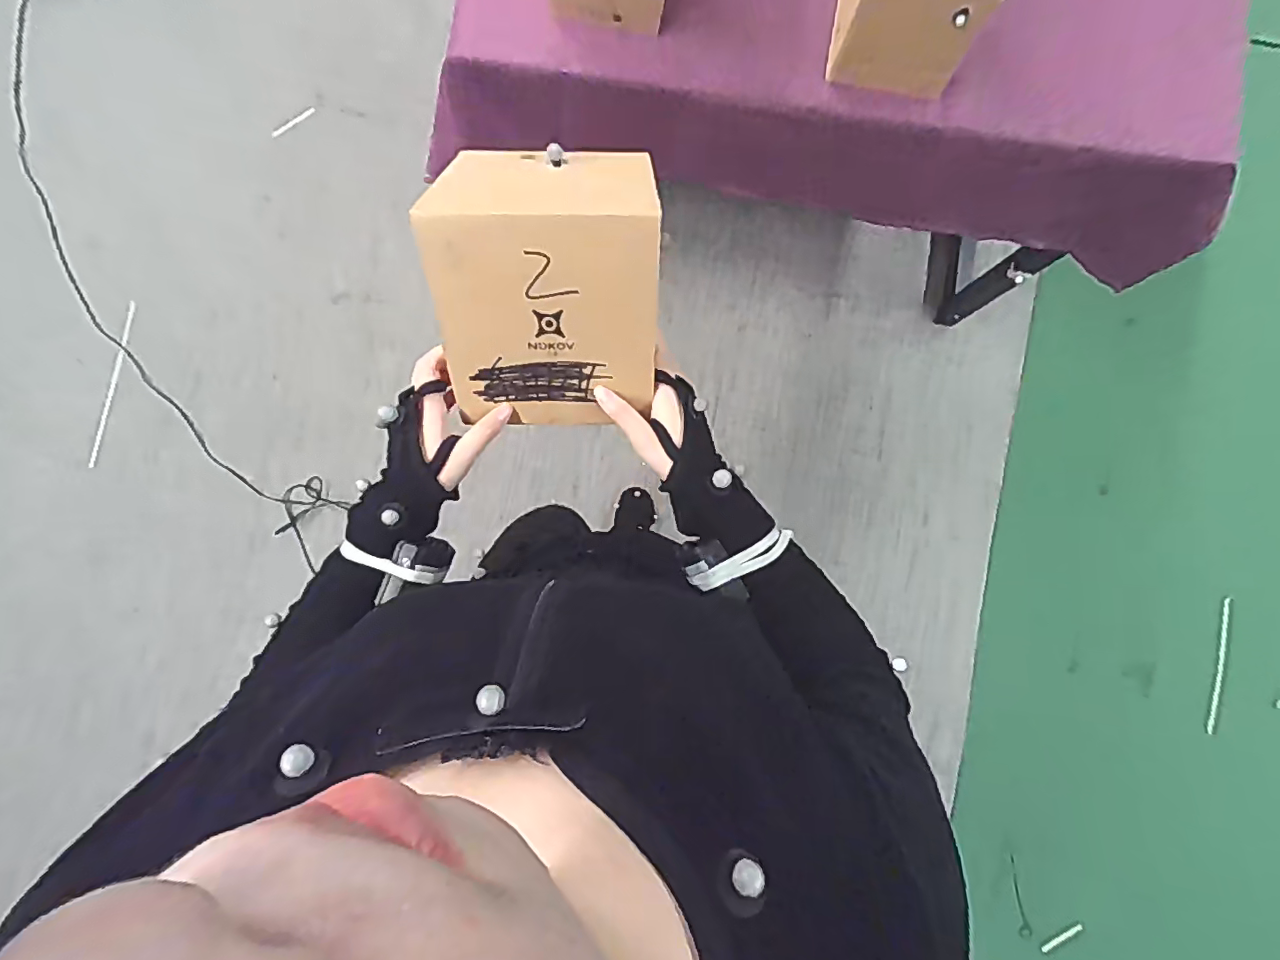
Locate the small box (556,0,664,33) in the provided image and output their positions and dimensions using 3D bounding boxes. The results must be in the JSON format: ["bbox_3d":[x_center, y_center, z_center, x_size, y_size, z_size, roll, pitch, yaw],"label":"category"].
[{"bbox_3d":[-0.037,-0.778,0.750,0.168,0.176,0.179,12,86,0],"label":"small box"}]

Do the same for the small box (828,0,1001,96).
[{"bbox_3d":[0.378,-0.673,0.744,0.179,0.176,0.168,10,86,1],"label":"small box"}]
